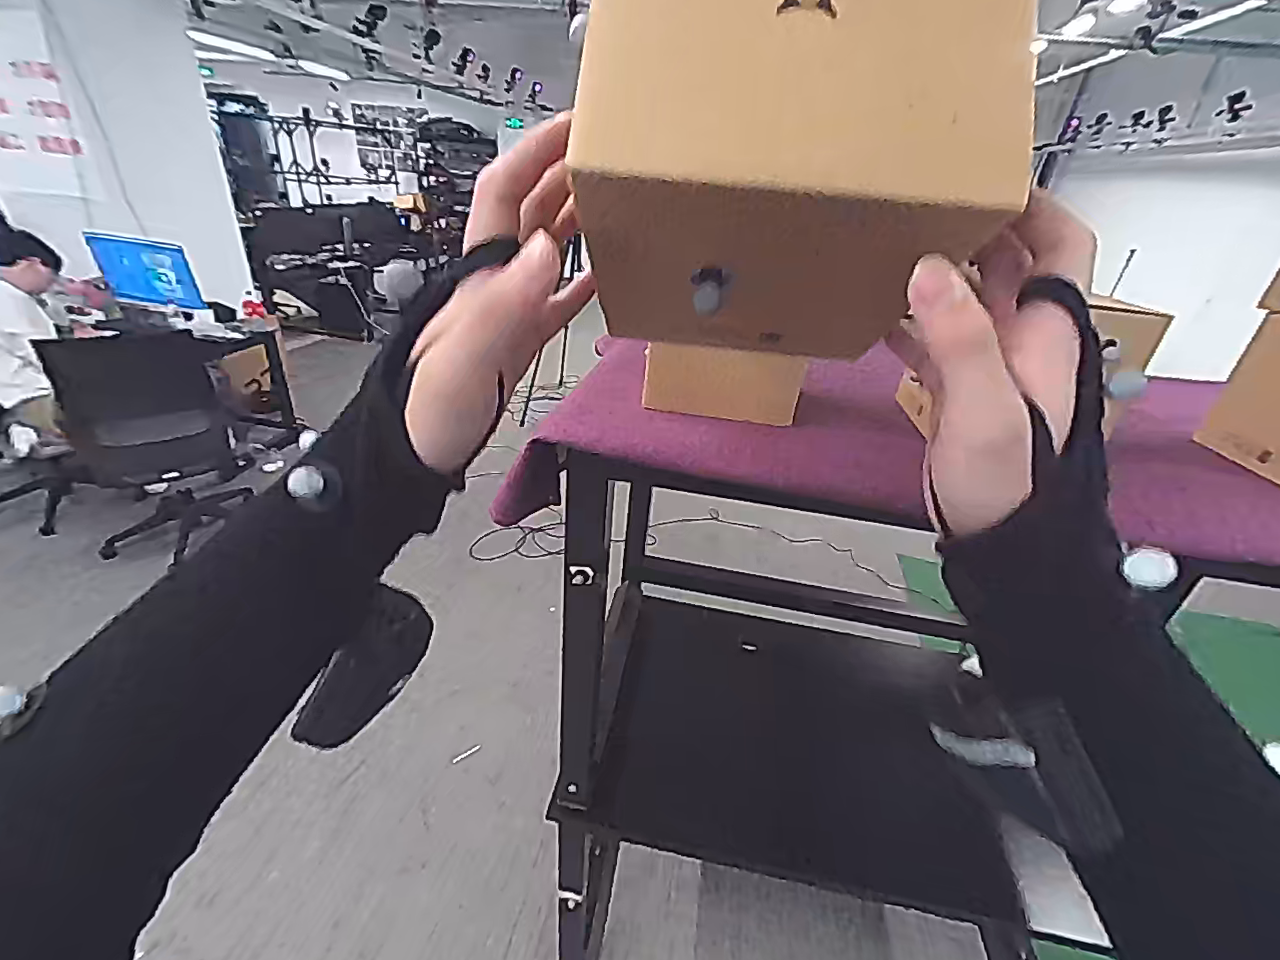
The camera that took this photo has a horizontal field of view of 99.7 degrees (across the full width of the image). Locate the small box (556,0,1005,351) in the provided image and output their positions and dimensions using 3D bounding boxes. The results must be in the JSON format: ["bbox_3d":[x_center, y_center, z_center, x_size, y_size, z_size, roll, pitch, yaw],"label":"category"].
[{"bbox_3d":[0.062,-0.183,0.290,0.168,0.179,0.176,6,-8,4],"label":"small box"}]

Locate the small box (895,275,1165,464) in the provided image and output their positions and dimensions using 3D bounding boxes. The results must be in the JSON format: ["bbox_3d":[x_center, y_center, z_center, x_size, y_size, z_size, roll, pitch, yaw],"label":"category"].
[{"bbox_3d":[0.428,-0.132,0.633,0.179,0.176,0.168,9,28,7],"label":"small box"}]

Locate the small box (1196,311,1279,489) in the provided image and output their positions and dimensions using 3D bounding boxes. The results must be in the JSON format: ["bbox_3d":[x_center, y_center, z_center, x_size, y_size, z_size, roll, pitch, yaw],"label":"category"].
[{"bbox_3d":[0.794,-0.075,0.589,0.179,0.176,0.168,9,27,6],"label":"small box"}]

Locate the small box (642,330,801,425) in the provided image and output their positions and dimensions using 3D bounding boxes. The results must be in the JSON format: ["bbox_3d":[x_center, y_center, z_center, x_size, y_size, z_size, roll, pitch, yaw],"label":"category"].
[{"bbox_3d":[0.101,-0.178,0.660,0.179,0.176,0.168,8,29,3],"label":"small box"}]
